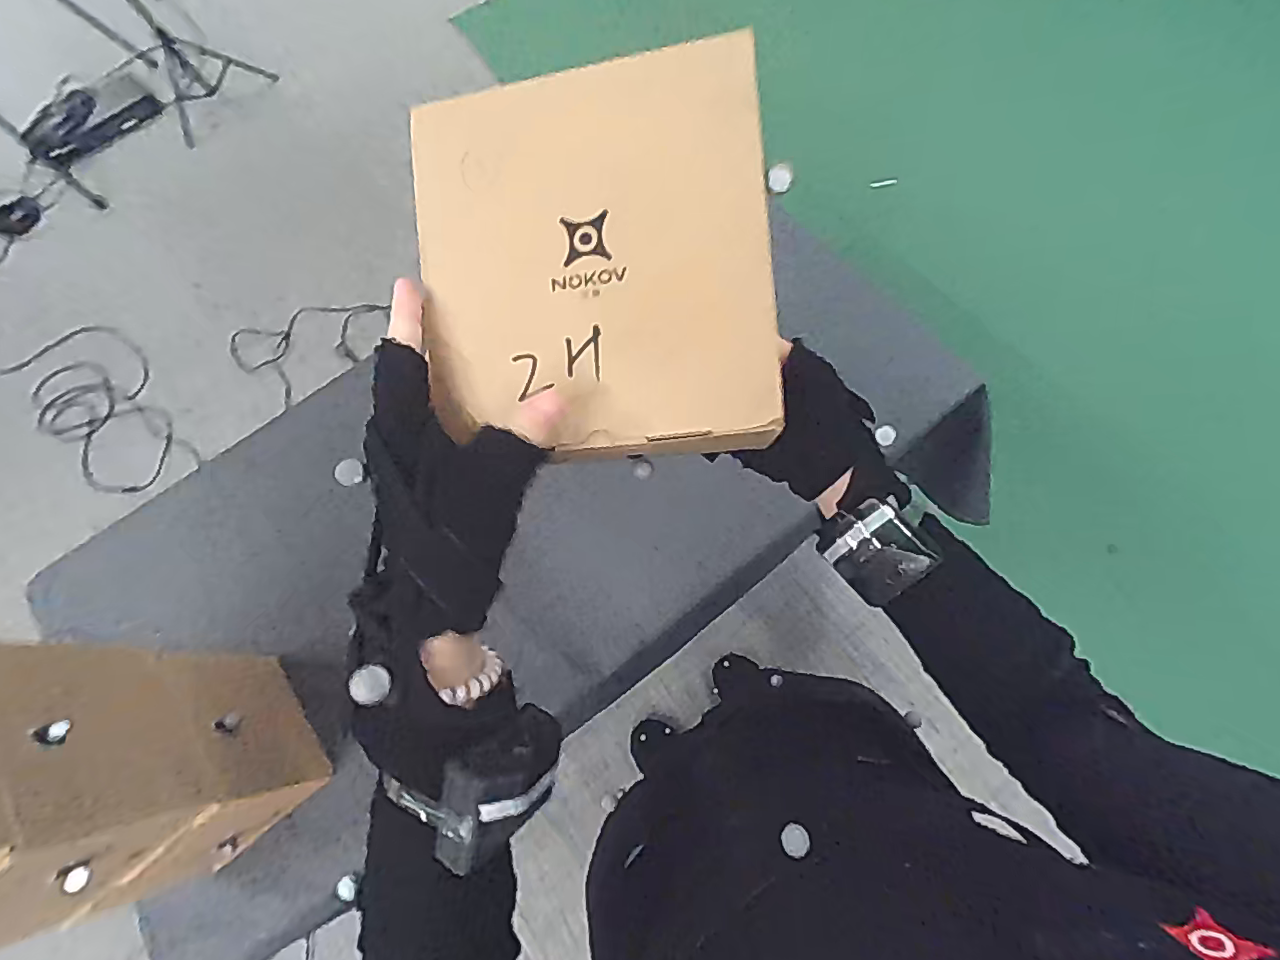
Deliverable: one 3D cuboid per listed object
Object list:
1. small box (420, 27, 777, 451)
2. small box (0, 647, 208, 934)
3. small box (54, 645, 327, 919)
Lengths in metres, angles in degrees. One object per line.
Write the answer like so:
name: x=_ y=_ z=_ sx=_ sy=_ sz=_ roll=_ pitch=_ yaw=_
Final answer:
small box: x=-0.010 y=-0.112 z=0.332 sx=0.168 sy=0.176 sz=0.179 roll=-4 pitch=91 yaw=11
small box: x=-0.508 y=0.249 z=0.436 sx=0.168 sy=0.176 sz=0.179 roll=-38 pitch=72 yaw=-8
small box: x=-0.492 y=0.305 z=0.589 sx=0.168 sy=0.176 sz=0.179 roll=-39 pitch=72 yaw=-8
